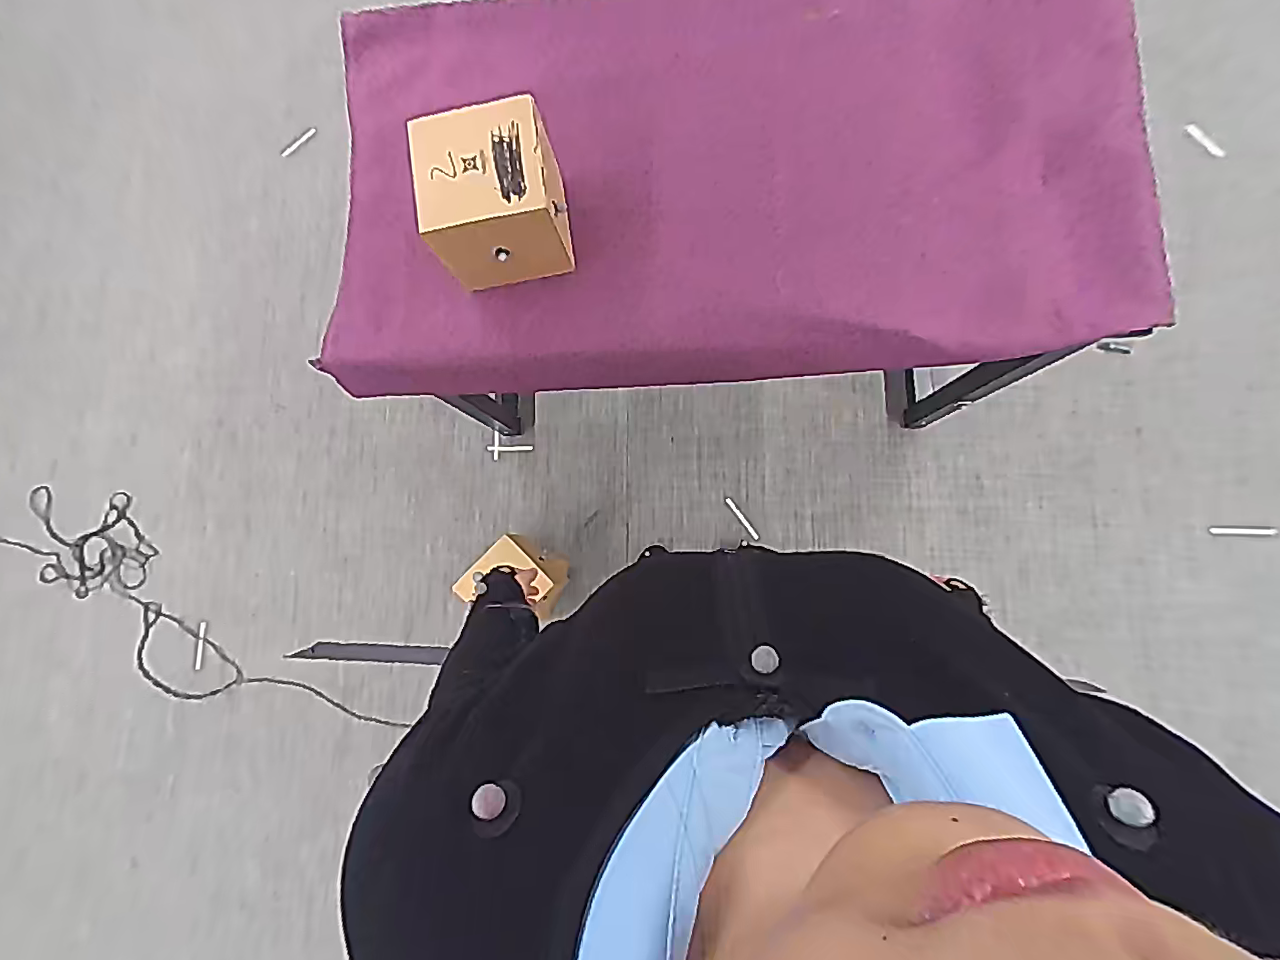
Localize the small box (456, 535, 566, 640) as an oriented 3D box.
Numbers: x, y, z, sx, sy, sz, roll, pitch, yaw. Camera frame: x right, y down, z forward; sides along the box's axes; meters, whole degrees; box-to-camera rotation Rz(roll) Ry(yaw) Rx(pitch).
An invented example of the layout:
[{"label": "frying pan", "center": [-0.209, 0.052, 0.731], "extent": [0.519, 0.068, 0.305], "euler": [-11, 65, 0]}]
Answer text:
[{"label": "small box", "center": [-0.296, 0.249, 1.293], "extent": [0.168, 0.176, 0.179], "euler": [44, 88, 9]}]

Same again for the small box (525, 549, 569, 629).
[{"label": "small box", "center": [-0.305, 0.278, 1.457], "extent": [0.168, 0.176, 0.179], "euler": [22, 85, 7]}]
